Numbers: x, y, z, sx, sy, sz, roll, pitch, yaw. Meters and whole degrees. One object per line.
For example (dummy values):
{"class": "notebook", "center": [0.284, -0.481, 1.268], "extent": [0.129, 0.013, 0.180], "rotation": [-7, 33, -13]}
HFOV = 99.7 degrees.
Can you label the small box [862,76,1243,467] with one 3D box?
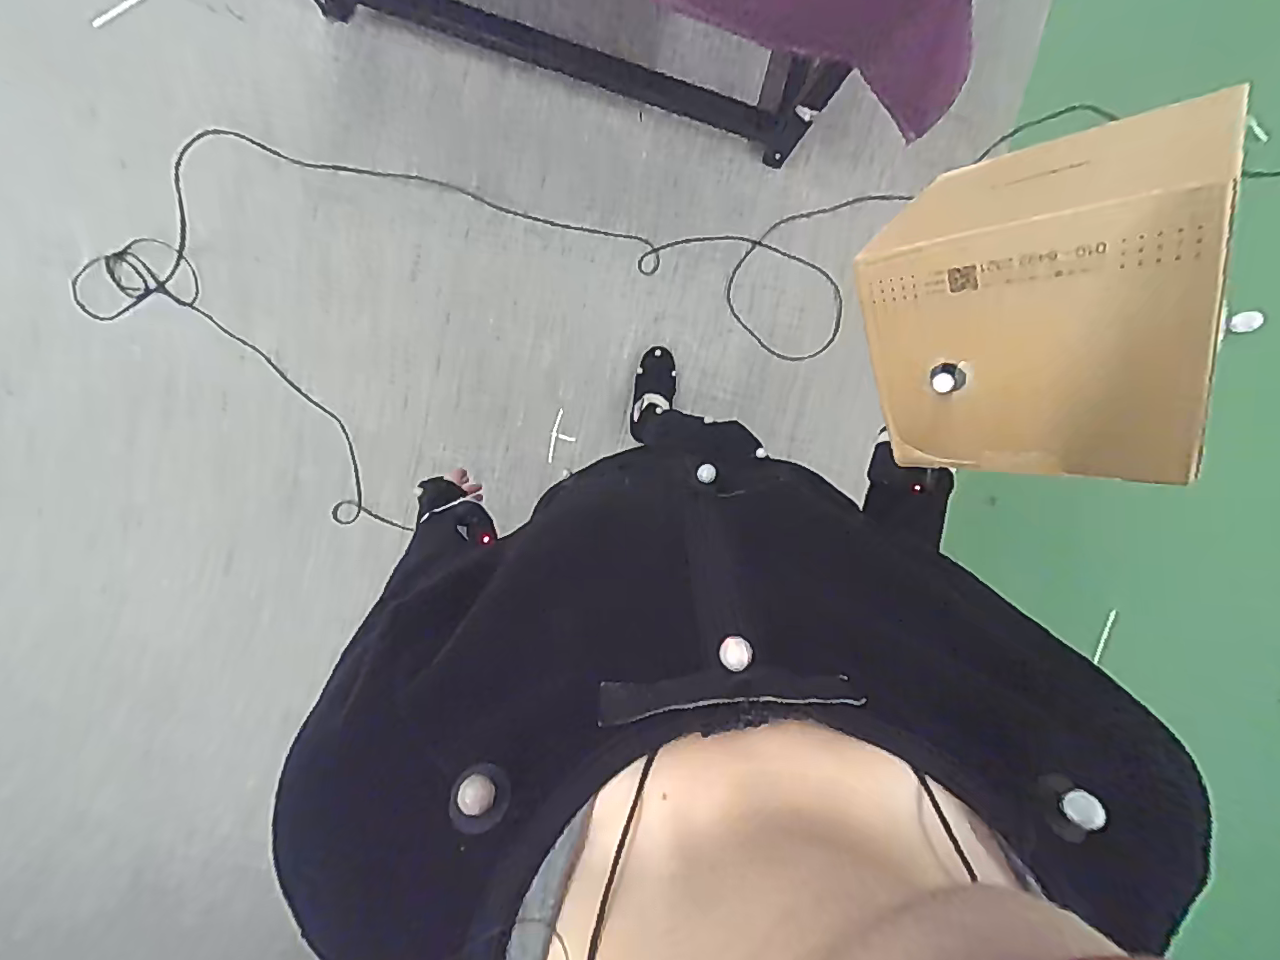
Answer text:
{"class": "small box", "center": [0.272, -0.129, 0.364], "extent": [0.179, 0.168, 0.176], "rotation": [-45, 123, -31]}
